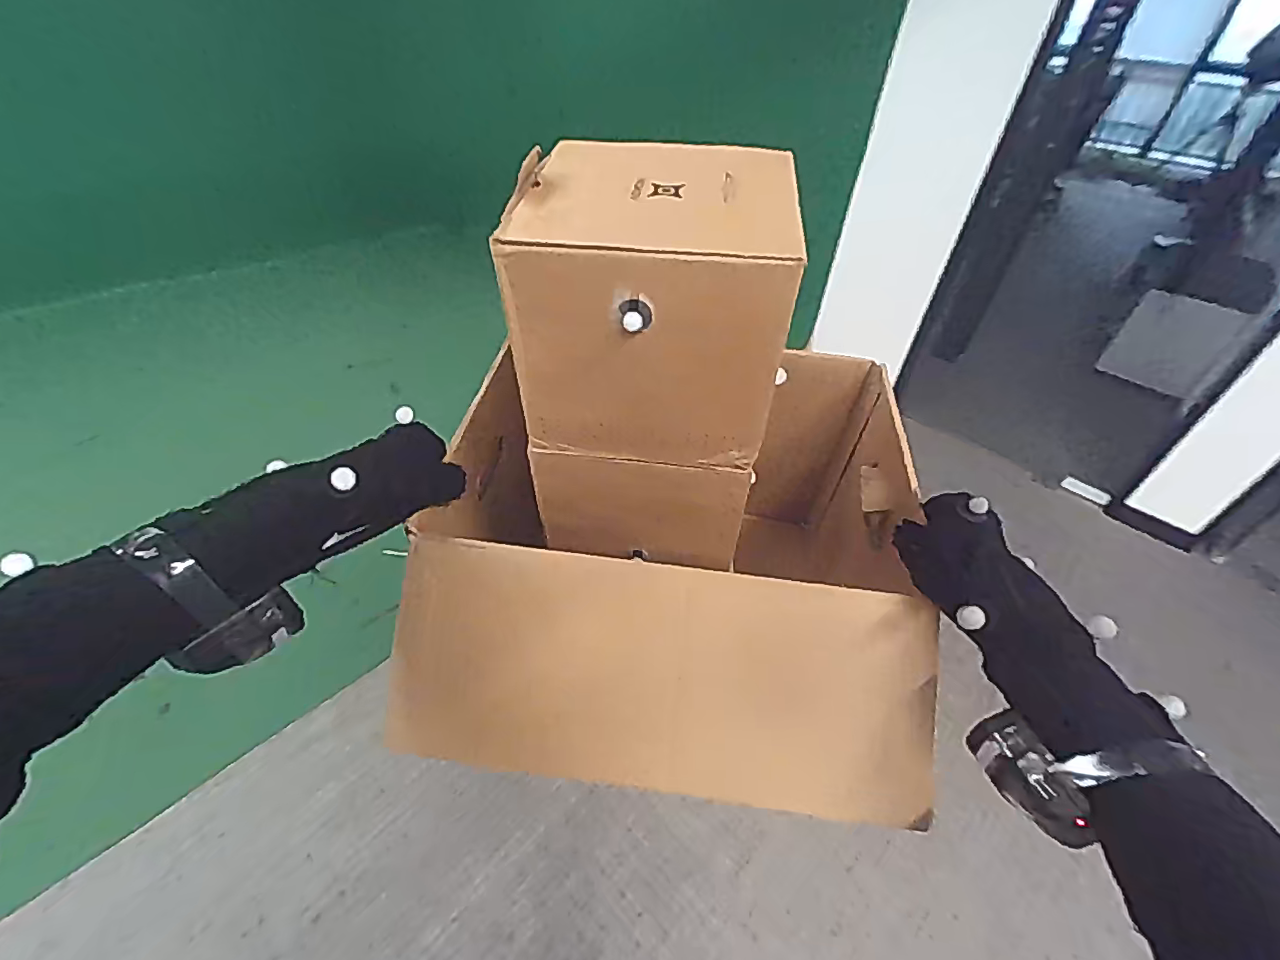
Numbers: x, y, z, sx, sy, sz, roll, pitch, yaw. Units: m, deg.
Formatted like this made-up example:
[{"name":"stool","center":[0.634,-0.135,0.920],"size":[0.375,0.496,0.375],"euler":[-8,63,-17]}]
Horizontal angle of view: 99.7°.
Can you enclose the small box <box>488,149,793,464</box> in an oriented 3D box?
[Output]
[{"name":"small box","center":[0.007,-0.129,0.413],"size":[0.179,0.176,0.168],"euler":[5,49,3]}]
